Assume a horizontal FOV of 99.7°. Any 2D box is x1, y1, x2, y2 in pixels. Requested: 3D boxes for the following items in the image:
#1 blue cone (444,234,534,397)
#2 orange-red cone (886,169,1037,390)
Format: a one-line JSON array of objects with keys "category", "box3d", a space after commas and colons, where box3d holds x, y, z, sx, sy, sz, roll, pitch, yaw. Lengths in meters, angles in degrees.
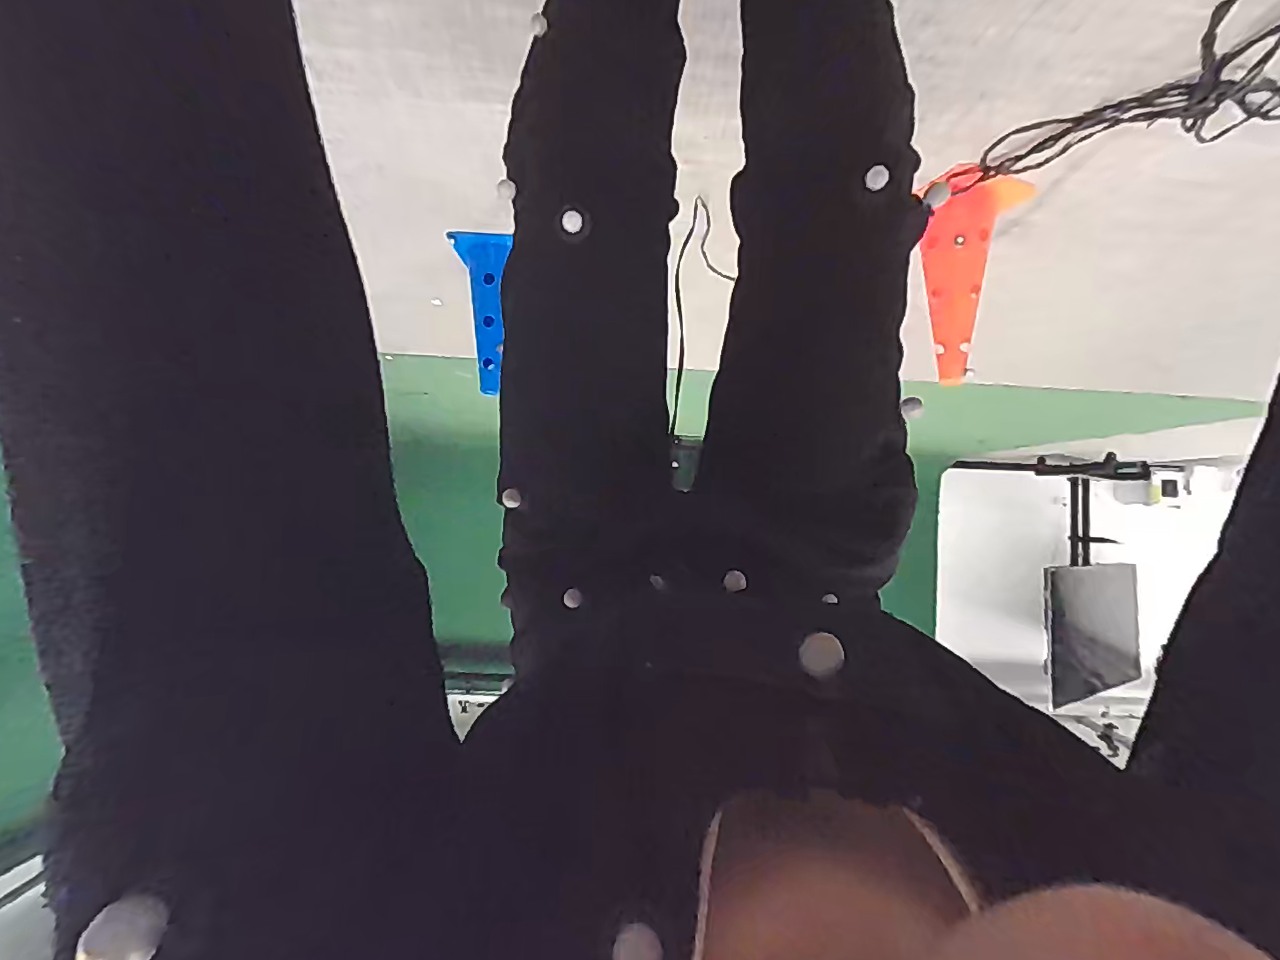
[{"category": "blue cone", "box3d": [-0.377, -0.394, 1.338, 0.192, 0.380, 0.193, 3, 176, -2]}, {"category": "orange-red cone", "box3d": [0.601, -0.351, 1.024, 0.199, 0.360, 0.198, 3, 178, -21]}]
